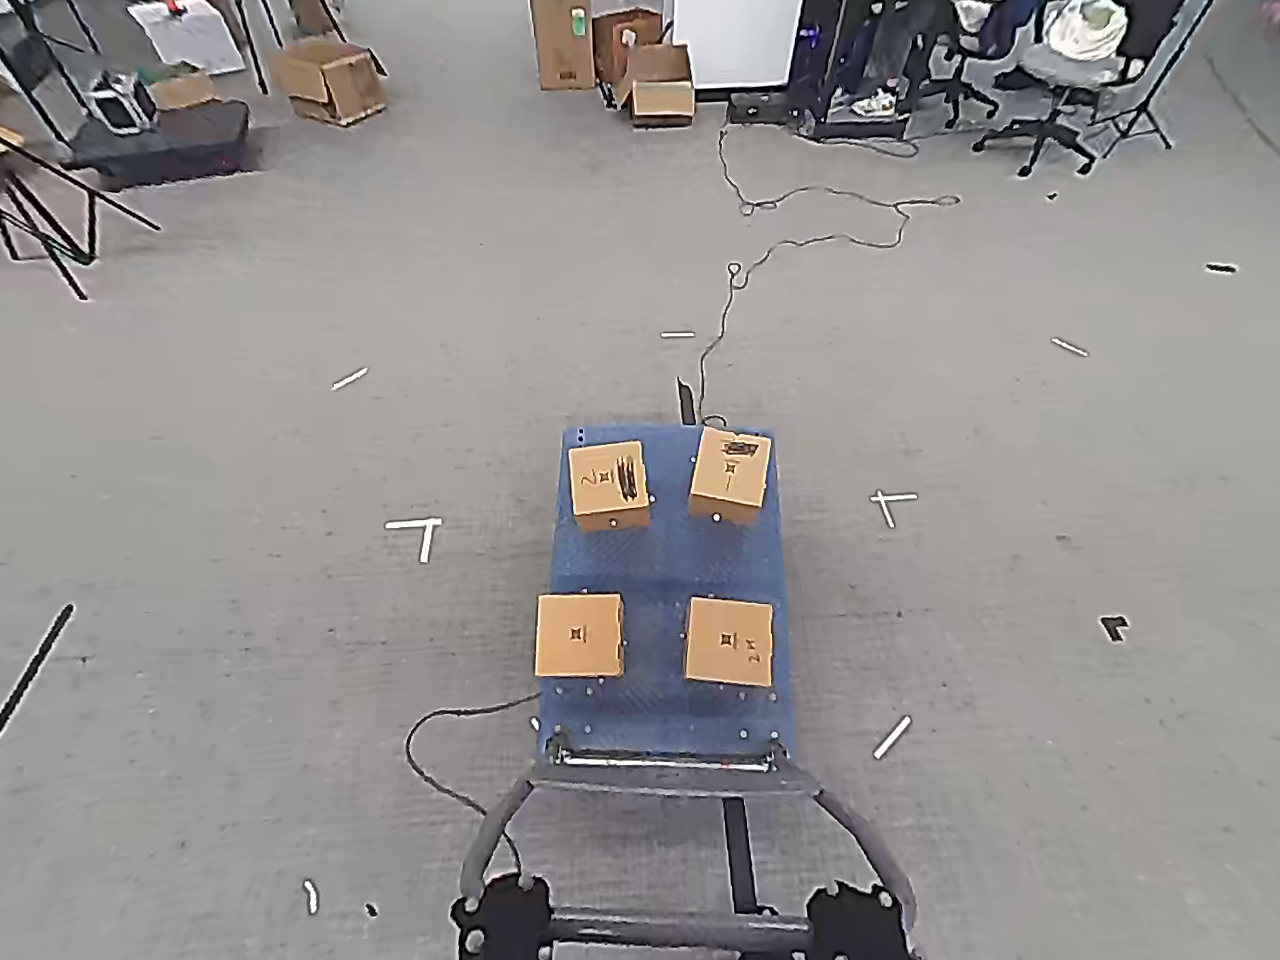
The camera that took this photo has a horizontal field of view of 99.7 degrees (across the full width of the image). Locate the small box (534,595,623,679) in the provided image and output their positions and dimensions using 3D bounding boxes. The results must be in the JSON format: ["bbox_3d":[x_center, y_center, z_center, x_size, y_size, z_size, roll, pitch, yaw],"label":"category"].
[{"bbox_3d":[-0.129,0.353,1.203,0.179,0.176,0.168,-1,69,-1],"label":"small box"}]

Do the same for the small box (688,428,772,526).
[{"bbox_3d":[0.215,-0.002,1.330,0.168,0.176,0.179,11,71,5],"label":"small box"}]

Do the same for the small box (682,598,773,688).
[{"bbox_3d":[0.188,0.364,1.193,0.179,0.176,0.168,5,70,3],"label":"small box"}]
